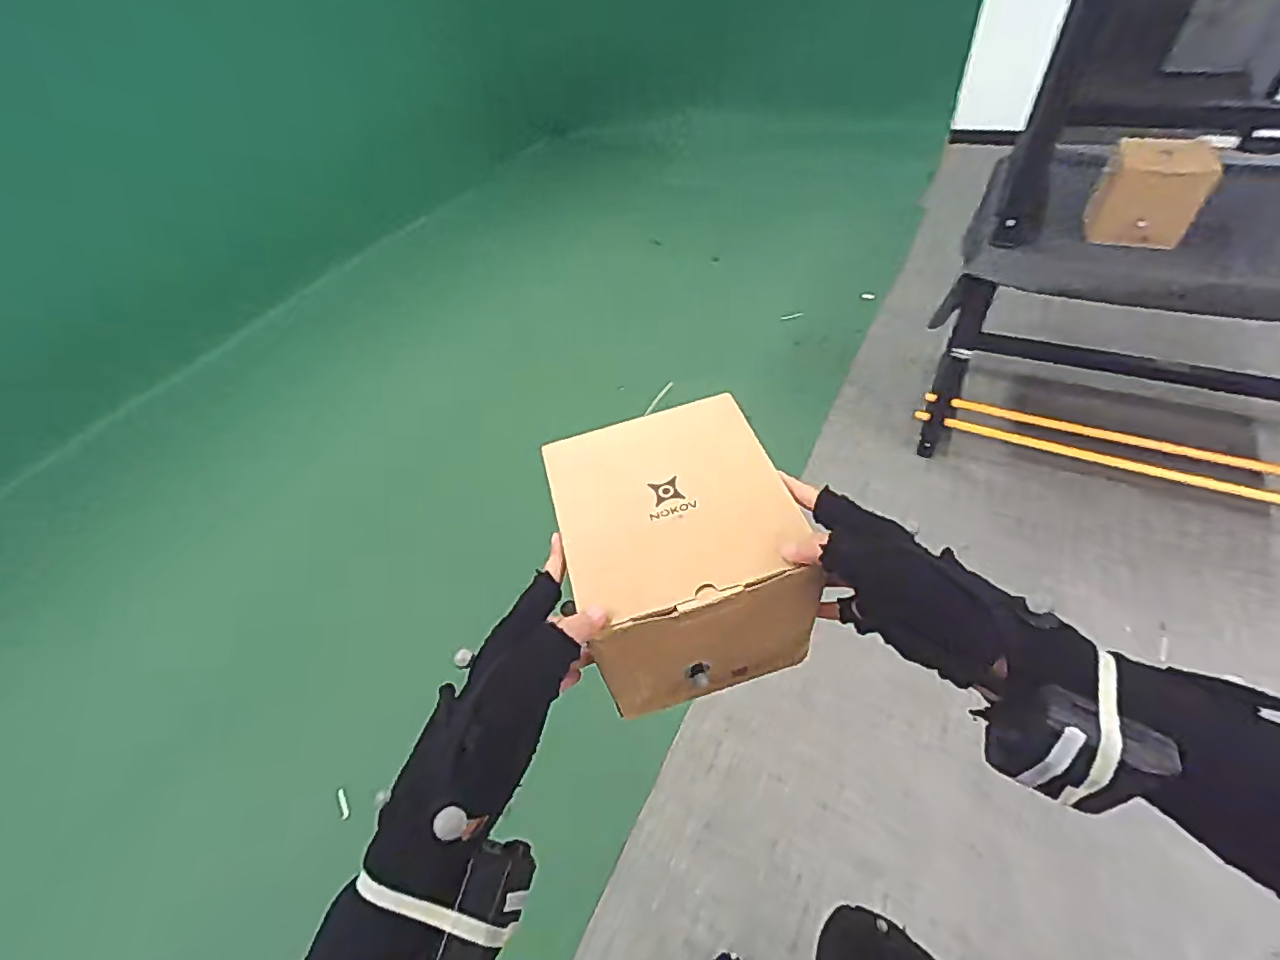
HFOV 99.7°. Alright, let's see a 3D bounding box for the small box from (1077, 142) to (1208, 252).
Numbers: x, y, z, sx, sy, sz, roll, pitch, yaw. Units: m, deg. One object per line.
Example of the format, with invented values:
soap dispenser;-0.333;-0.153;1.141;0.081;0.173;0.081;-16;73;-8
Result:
small box;1.142;-0.652;1.245;0.168;0.176;0.179;16;54;22
